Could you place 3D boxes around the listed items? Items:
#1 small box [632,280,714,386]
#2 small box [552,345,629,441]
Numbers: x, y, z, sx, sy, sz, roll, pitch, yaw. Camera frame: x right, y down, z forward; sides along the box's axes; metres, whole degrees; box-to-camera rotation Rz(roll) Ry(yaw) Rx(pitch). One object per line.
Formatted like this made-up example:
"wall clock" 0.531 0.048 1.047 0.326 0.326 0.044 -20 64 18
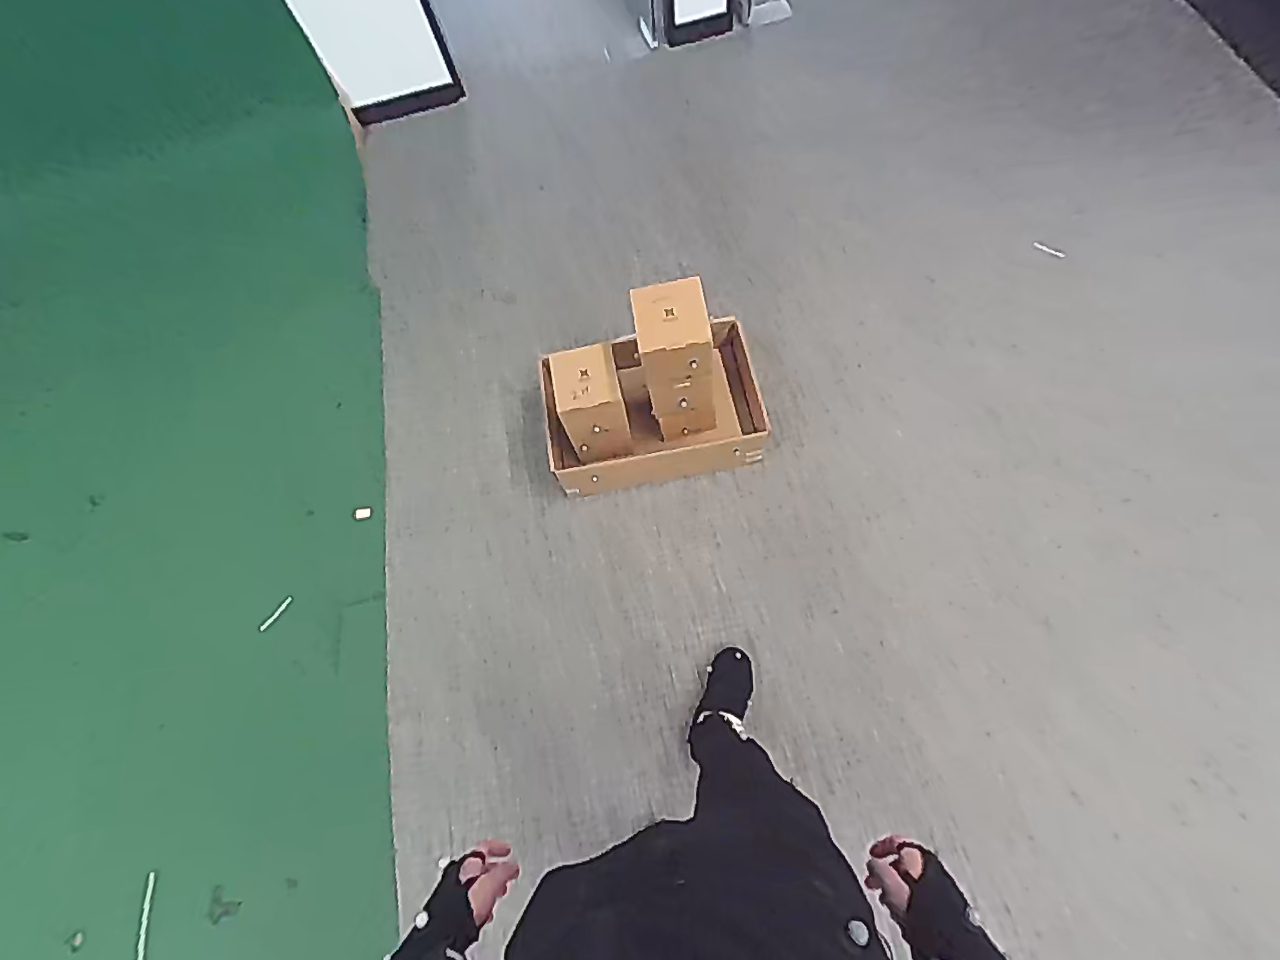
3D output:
"small box" 0.082 -0.338 1.283 0.168 0.176 0.179 -9 69 5
"small box" -0.128 -0.226 1.434 0.168 0.176 0.179 -11 68 1
